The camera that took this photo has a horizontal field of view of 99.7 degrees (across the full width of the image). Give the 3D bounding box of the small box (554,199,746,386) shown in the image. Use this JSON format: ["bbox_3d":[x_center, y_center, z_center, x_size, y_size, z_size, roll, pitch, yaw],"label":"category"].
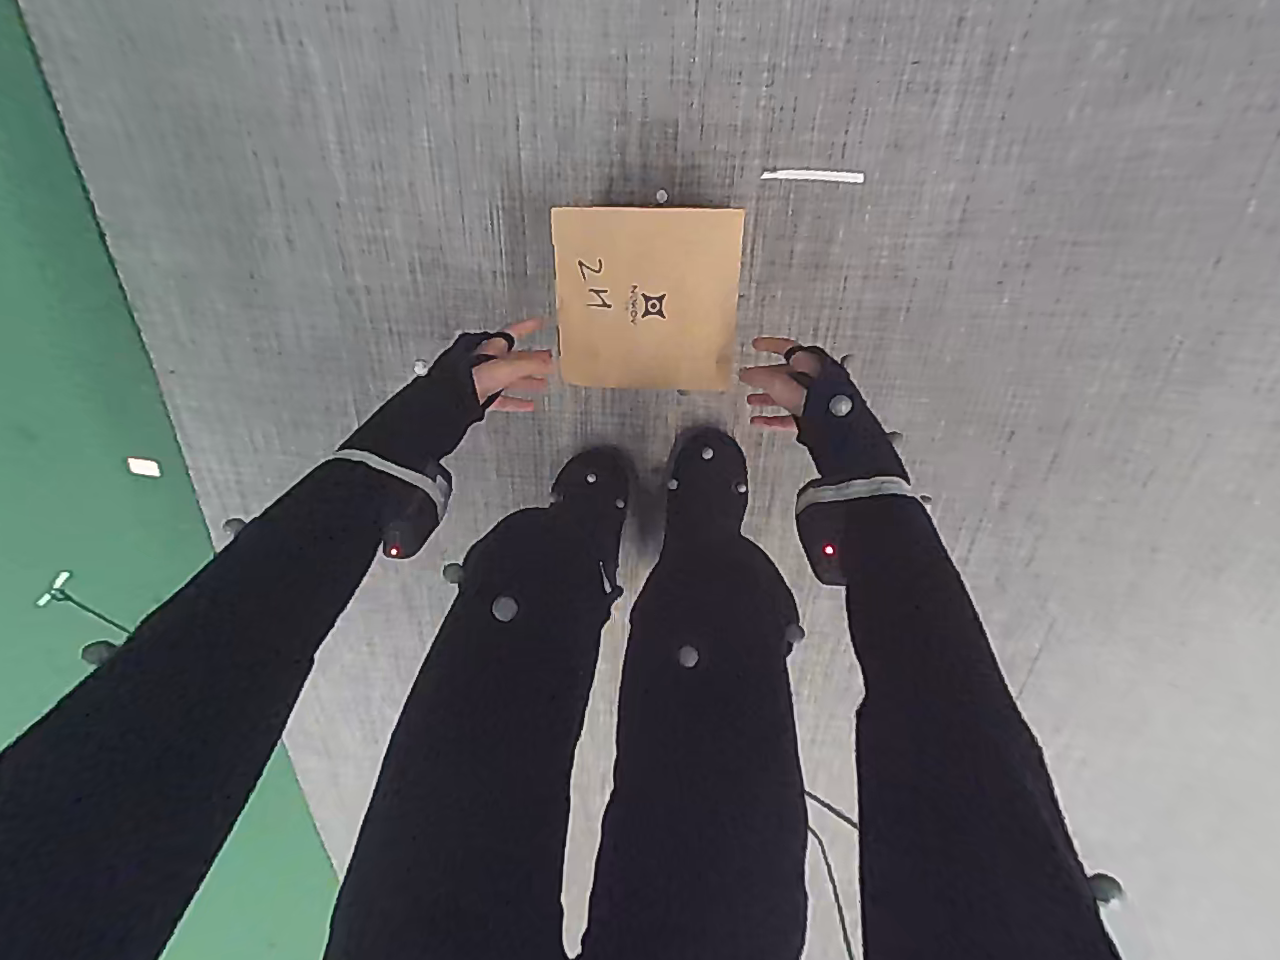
[{"bbox_3d":[0.012,-0.208,0.587,0.179,0.176,0.168,4,115,5],"label":"small box"}]
